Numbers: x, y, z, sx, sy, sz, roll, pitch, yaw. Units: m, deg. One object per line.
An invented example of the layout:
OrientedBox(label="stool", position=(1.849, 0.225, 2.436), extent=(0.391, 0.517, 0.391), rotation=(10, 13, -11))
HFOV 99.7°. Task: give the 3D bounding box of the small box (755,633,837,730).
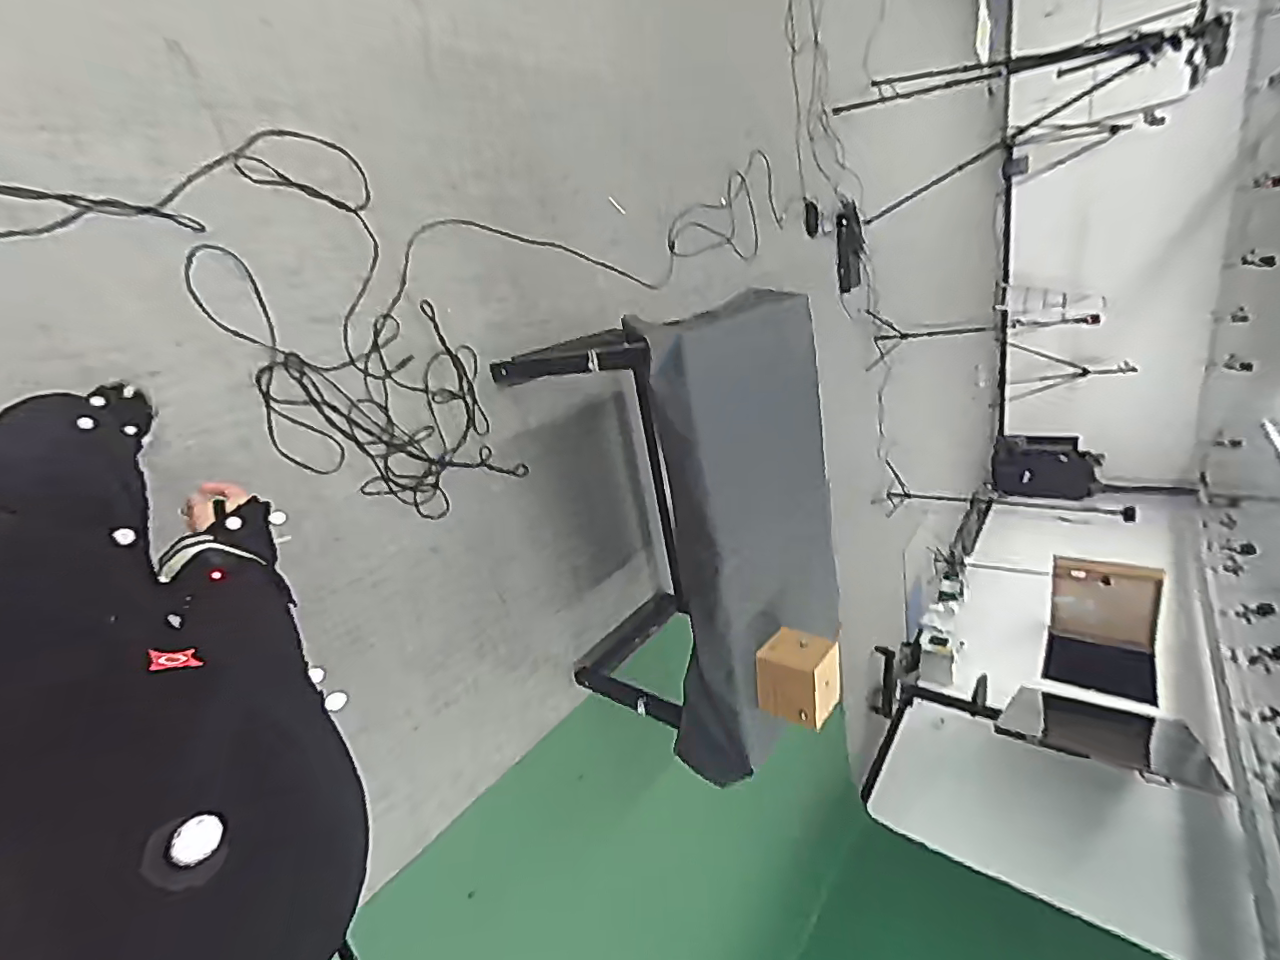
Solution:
OrientedBox(label="small box", position=(0.423, 0.536, 1.473), extent=(0.168, 0.176, 0.179), rotation=(-22, 111, -47))
